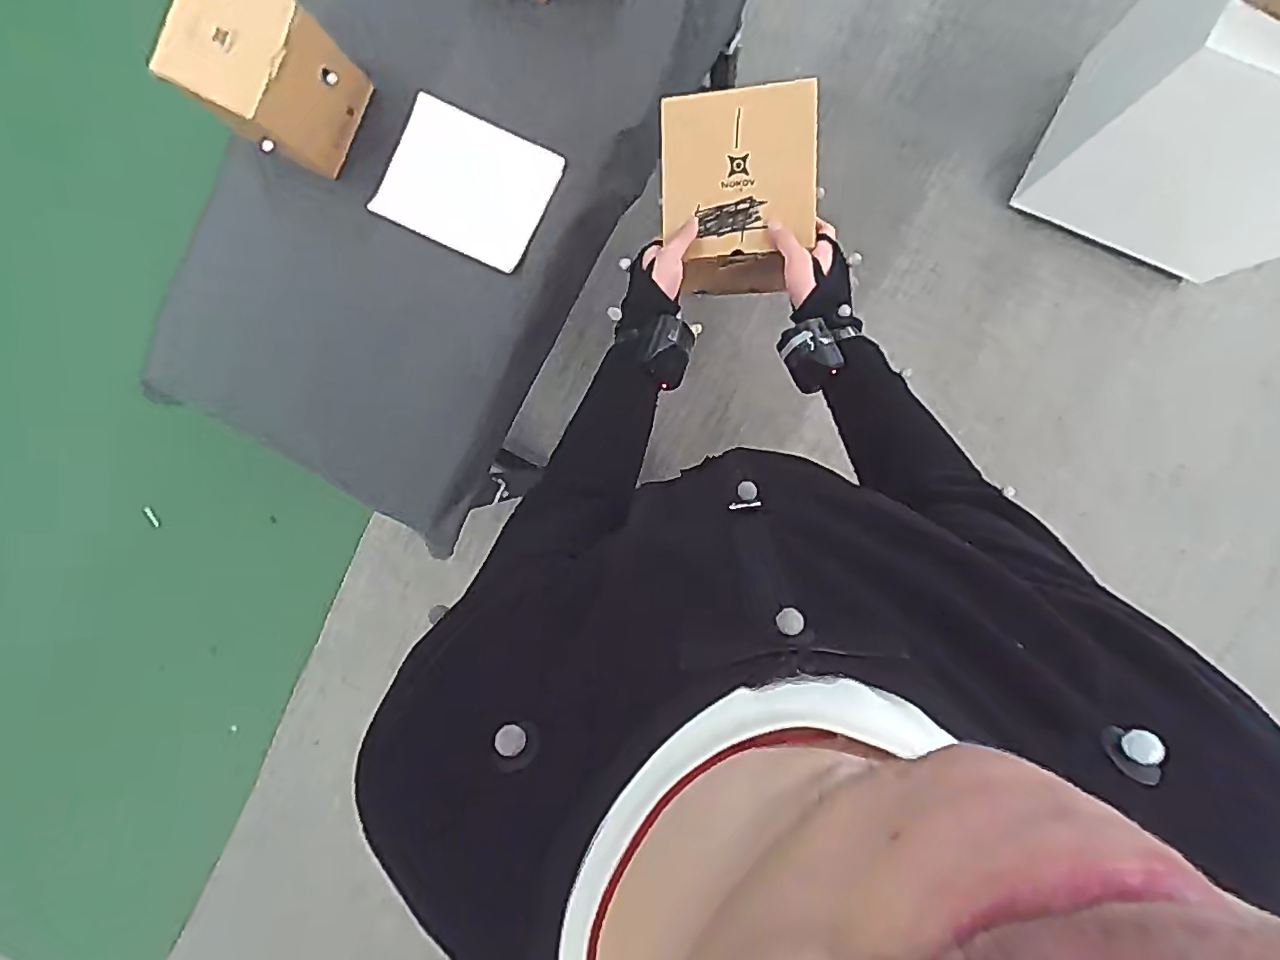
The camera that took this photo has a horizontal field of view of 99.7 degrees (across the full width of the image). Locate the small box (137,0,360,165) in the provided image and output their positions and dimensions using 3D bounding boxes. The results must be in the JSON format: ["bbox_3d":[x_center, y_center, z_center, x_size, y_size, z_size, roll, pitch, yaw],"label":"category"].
[{"bbox_3d":[-0.553,-0.600,0.789,0.179,0.176,0.168,27,95,5],"label":"small box"}]

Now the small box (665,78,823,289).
[{"bbox_3d":[0.124,-0.339,0.660,0.168,0.176,0.179,1,95,10],"label":"small box"}]
